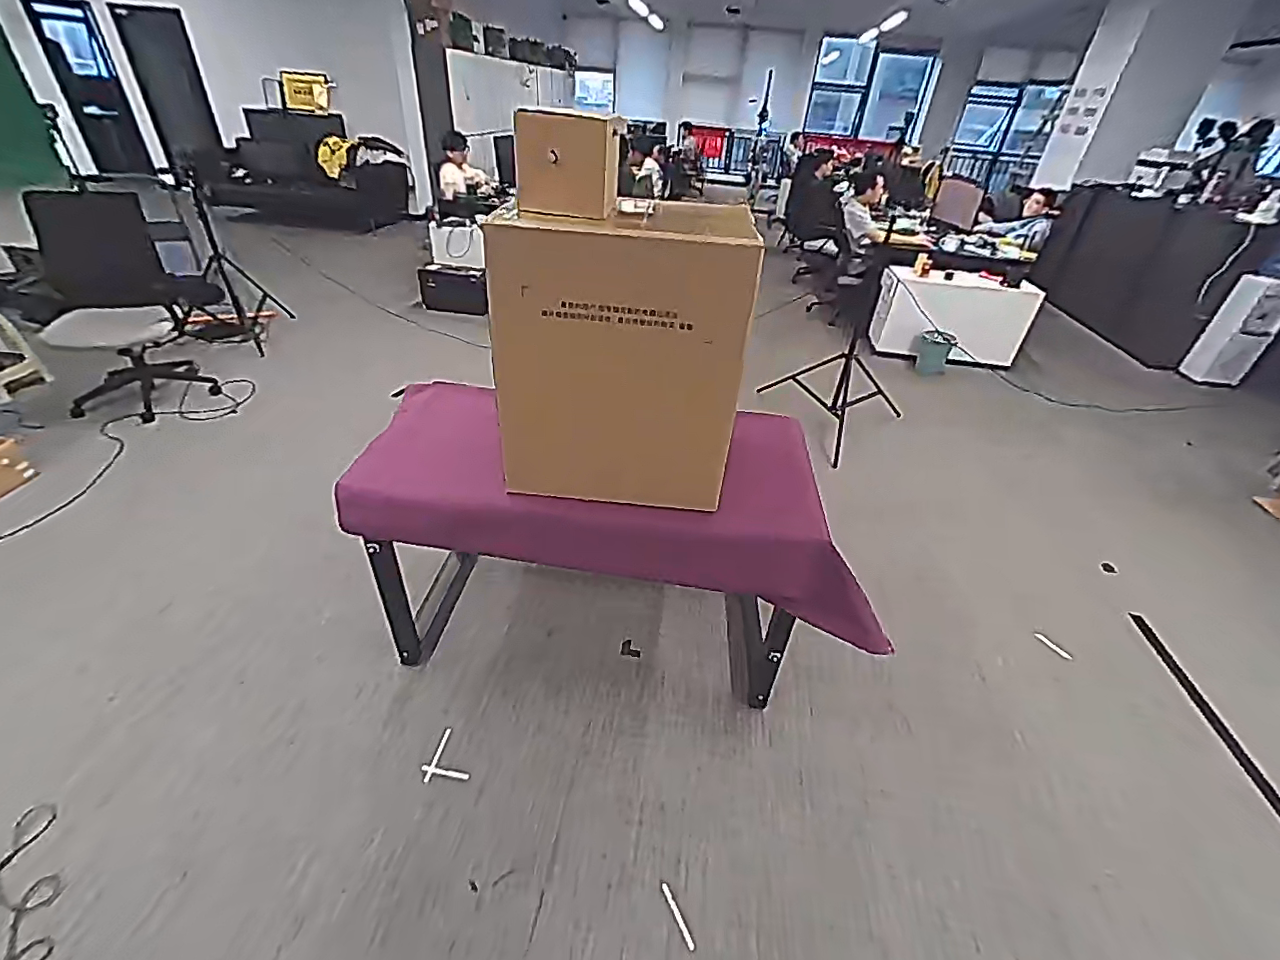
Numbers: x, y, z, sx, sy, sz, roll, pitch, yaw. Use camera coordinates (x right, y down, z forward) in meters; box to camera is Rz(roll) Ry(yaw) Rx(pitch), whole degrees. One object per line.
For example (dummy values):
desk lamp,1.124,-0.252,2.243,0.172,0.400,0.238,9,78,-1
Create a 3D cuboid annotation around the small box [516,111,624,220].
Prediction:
small box,-0.133,-0.624,1.073,0.179,0.176,0.168,7,36,3
